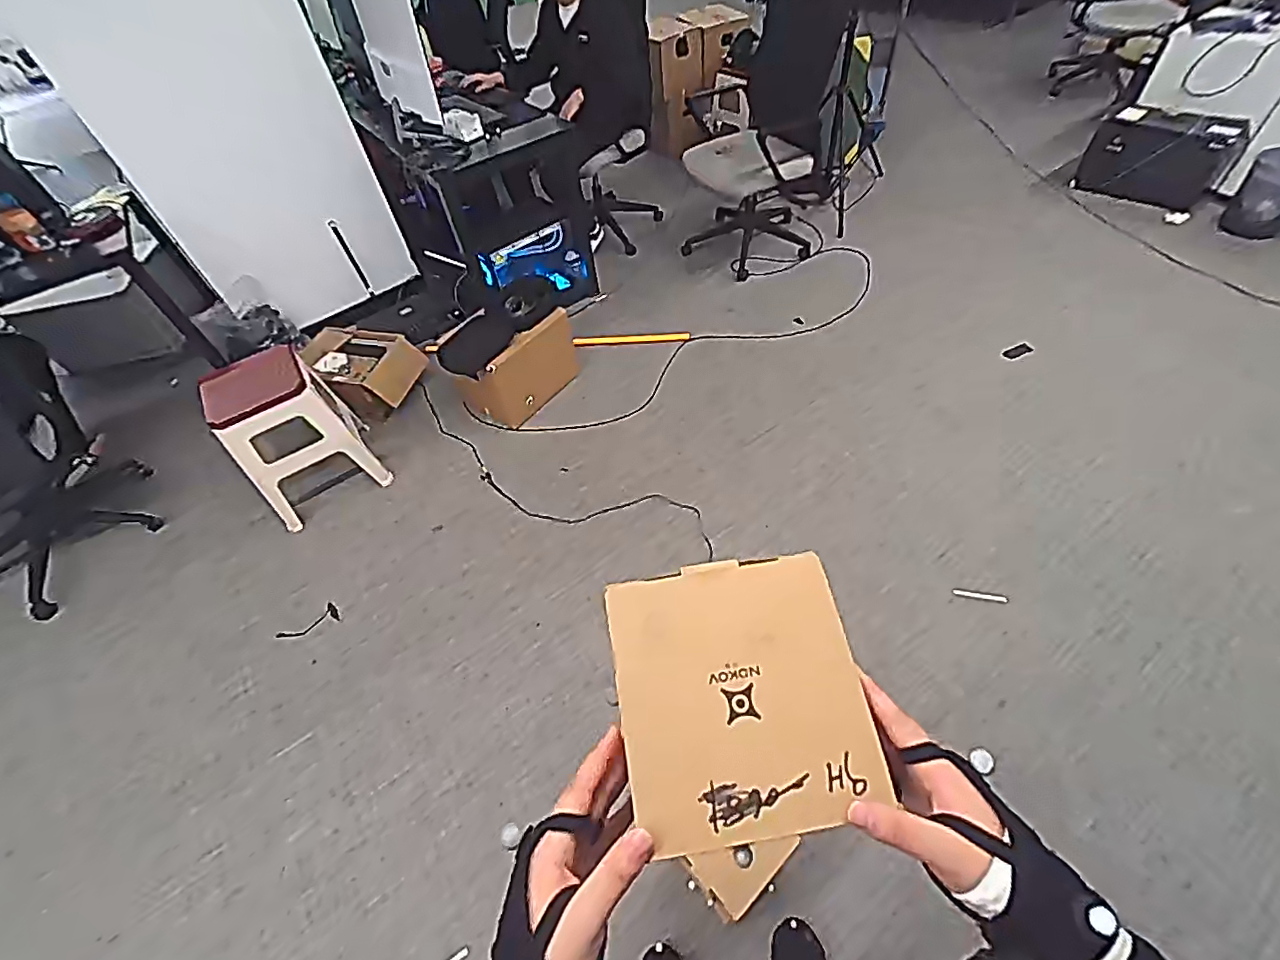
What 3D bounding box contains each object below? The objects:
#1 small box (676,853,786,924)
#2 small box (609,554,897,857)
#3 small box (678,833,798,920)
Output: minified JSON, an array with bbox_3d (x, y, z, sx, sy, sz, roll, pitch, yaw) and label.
[{"bbox_3d":[0.185,0.795,1.153,0.179,0.176,0.168,-36,56,-19],"label":"small box"},{"bbox_3d":[0.070,0.180,0.441,0.168,0.176,0.179,-9,63,-2],"label":"small box"},{"bbox_3d":[0.174,0.690,1.029,0.179,0.176,0.168,-37,58,-22],"label":"small box"}]
